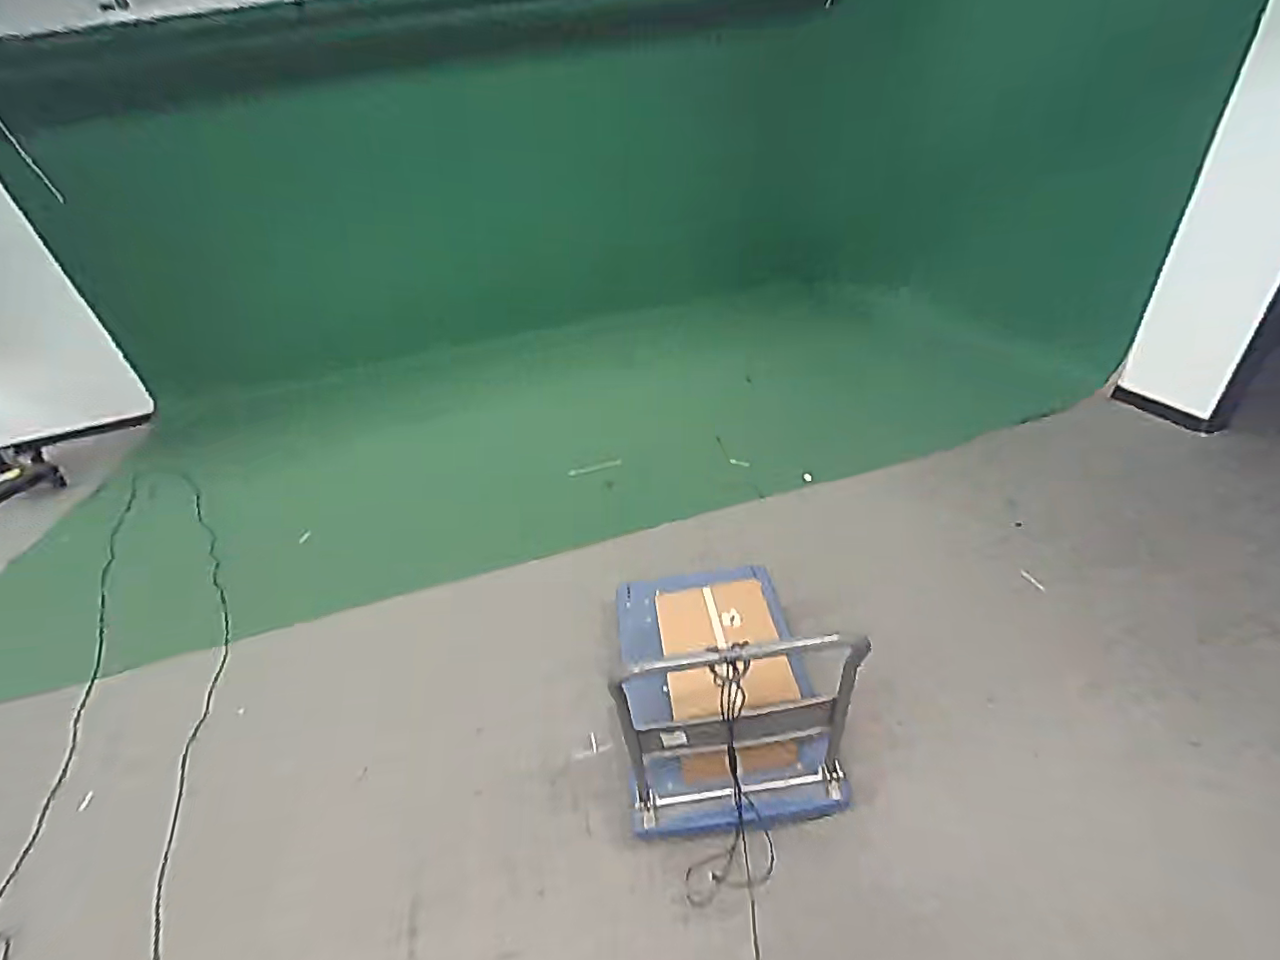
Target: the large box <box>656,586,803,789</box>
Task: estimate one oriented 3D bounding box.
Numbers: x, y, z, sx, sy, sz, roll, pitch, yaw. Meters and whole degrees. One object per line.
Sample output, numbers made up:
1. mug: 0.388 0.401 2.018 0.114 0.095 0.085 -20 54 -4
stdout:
1. large box: 0.239 0.569 1.518 0.320 0.320 0.408 -9 34 0
